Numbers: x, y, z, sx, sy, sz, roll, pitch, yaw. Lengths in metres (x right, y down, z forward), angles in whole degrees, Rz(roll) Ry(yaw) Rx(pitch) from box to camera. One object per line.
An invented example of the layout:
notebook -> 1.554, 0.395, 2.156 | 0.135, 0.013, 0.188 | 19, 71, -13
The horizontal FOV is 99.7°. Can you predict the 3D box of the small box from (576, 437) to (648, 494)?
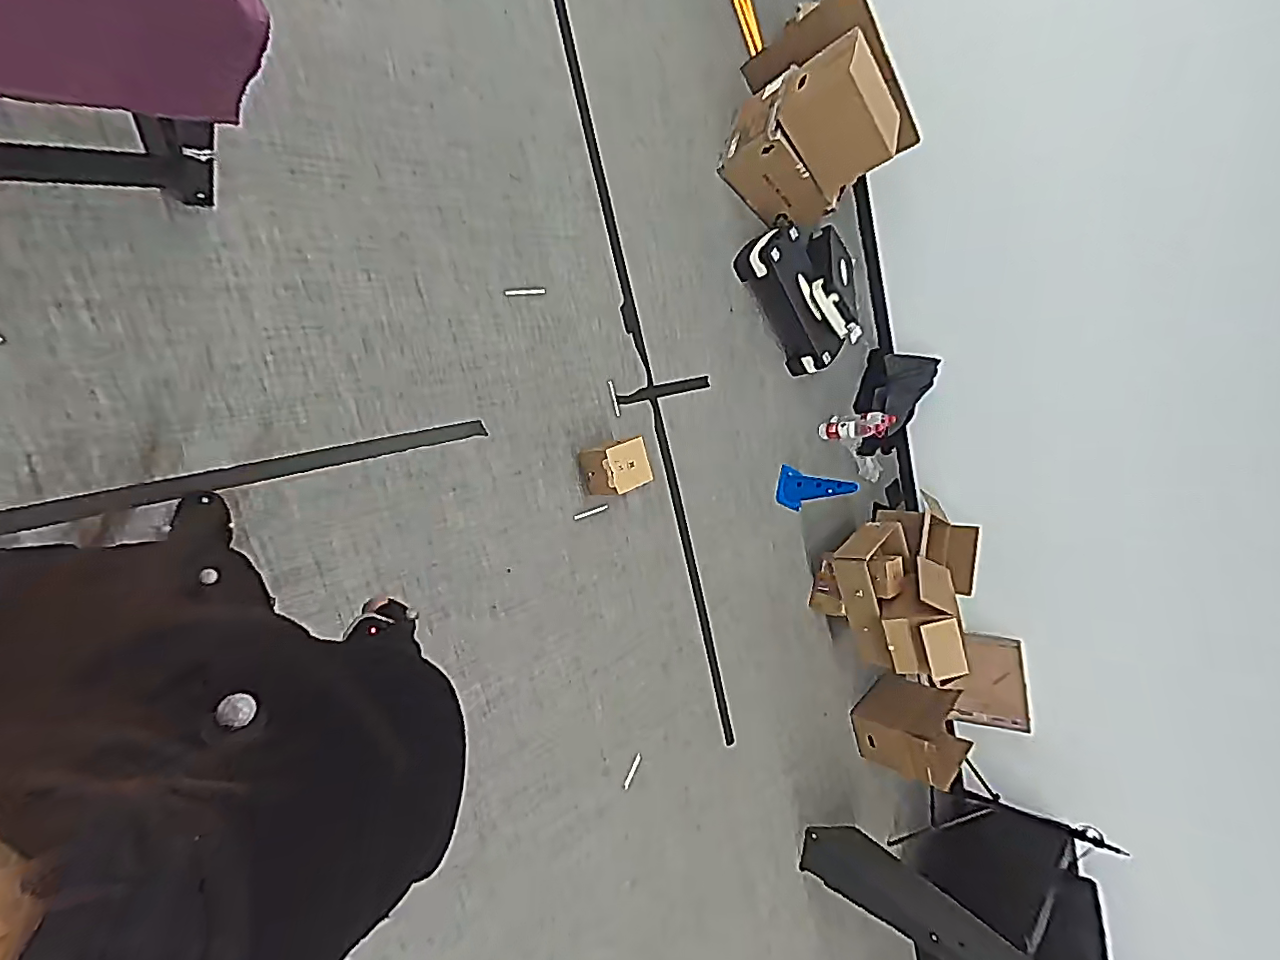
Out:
small box -> -0.102, -0.054, 1.954 | 0.179, 0.176, 0.168 | -23, 103, -36
